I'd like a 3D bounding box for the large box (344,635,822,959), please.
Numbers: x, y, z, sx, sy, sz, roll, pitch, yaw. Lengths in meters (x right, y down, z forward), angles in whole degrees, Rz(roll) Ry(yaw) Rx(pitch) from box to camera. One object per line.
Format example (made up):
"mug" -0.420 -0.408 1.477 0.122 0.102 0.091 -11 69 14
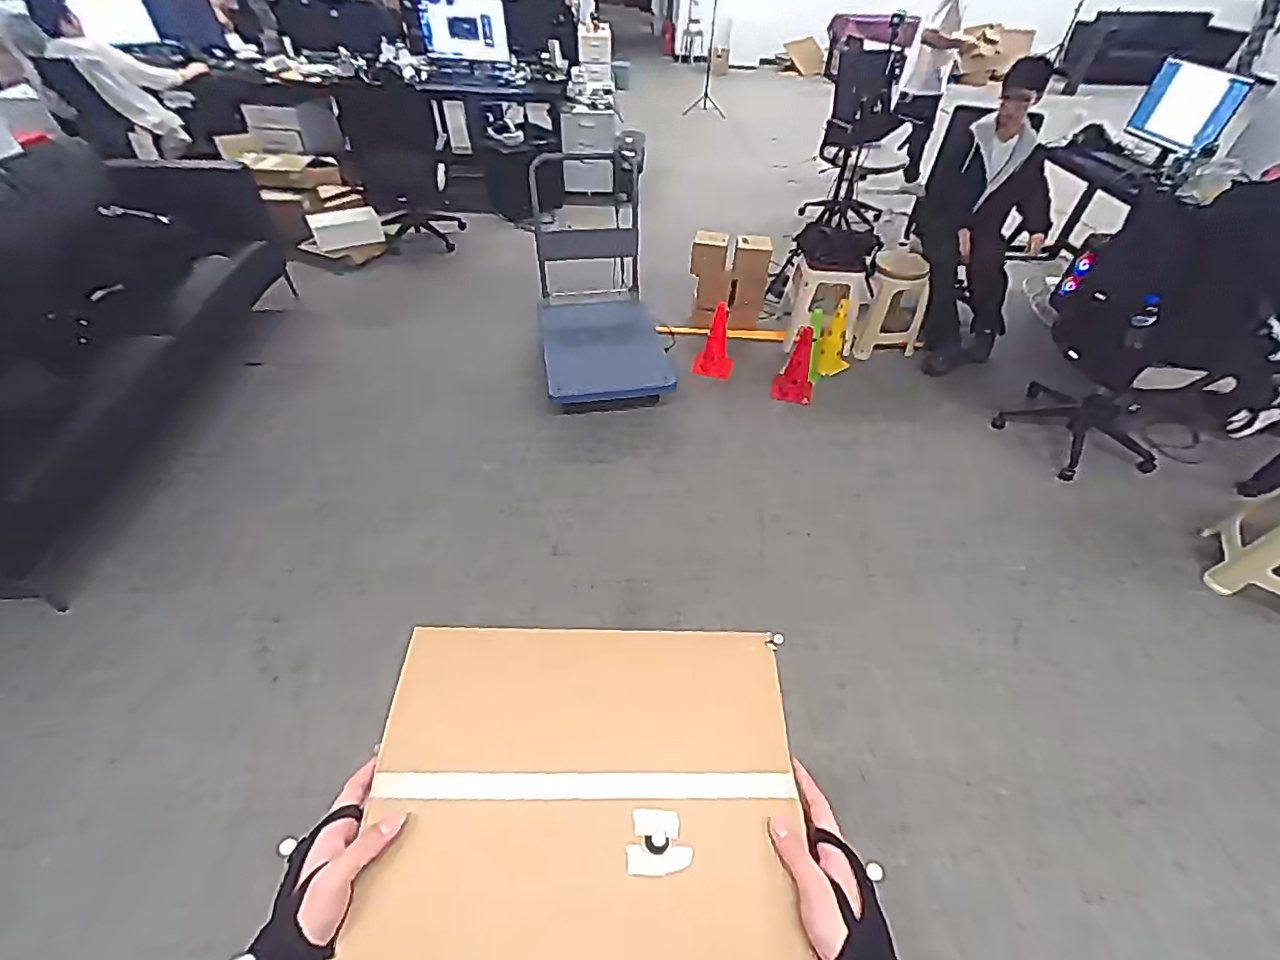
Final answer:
"large box" -0.056 0.395 0.643 0.408 0.320 0.320 2 51 -3
